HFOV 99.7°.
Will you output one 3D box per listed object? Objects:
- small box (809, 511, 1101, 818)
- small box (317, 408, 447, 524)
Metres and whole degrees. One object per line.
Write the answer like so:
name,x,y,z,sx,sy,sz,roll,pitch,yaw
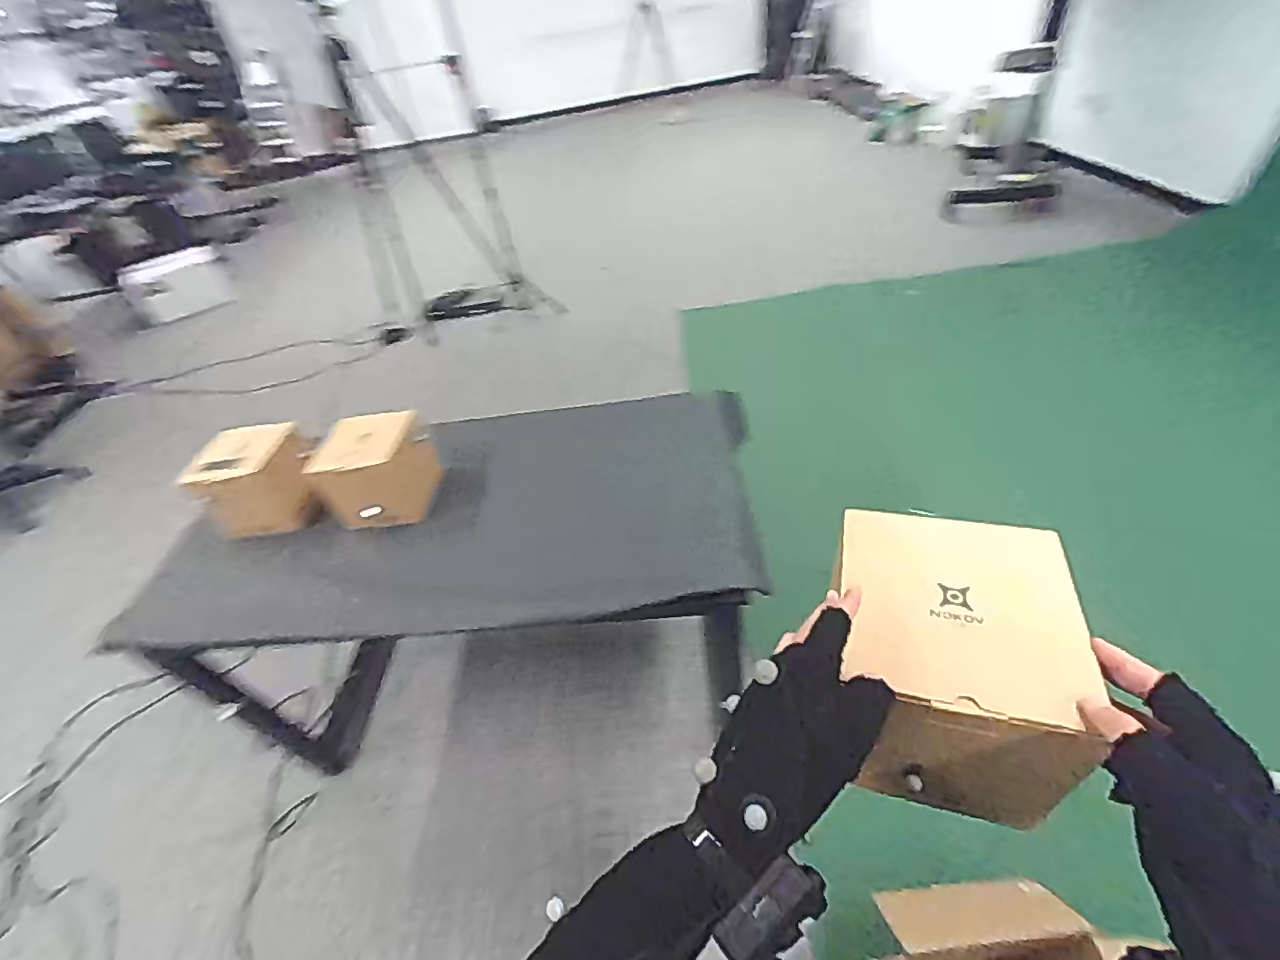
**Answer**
small box,0.240,0.153,0.466,0.168,0.176,0.179,5,45,17
small box,-0.531,-0.029,1.146,0.168,0.176,0.179,-5,43,7
